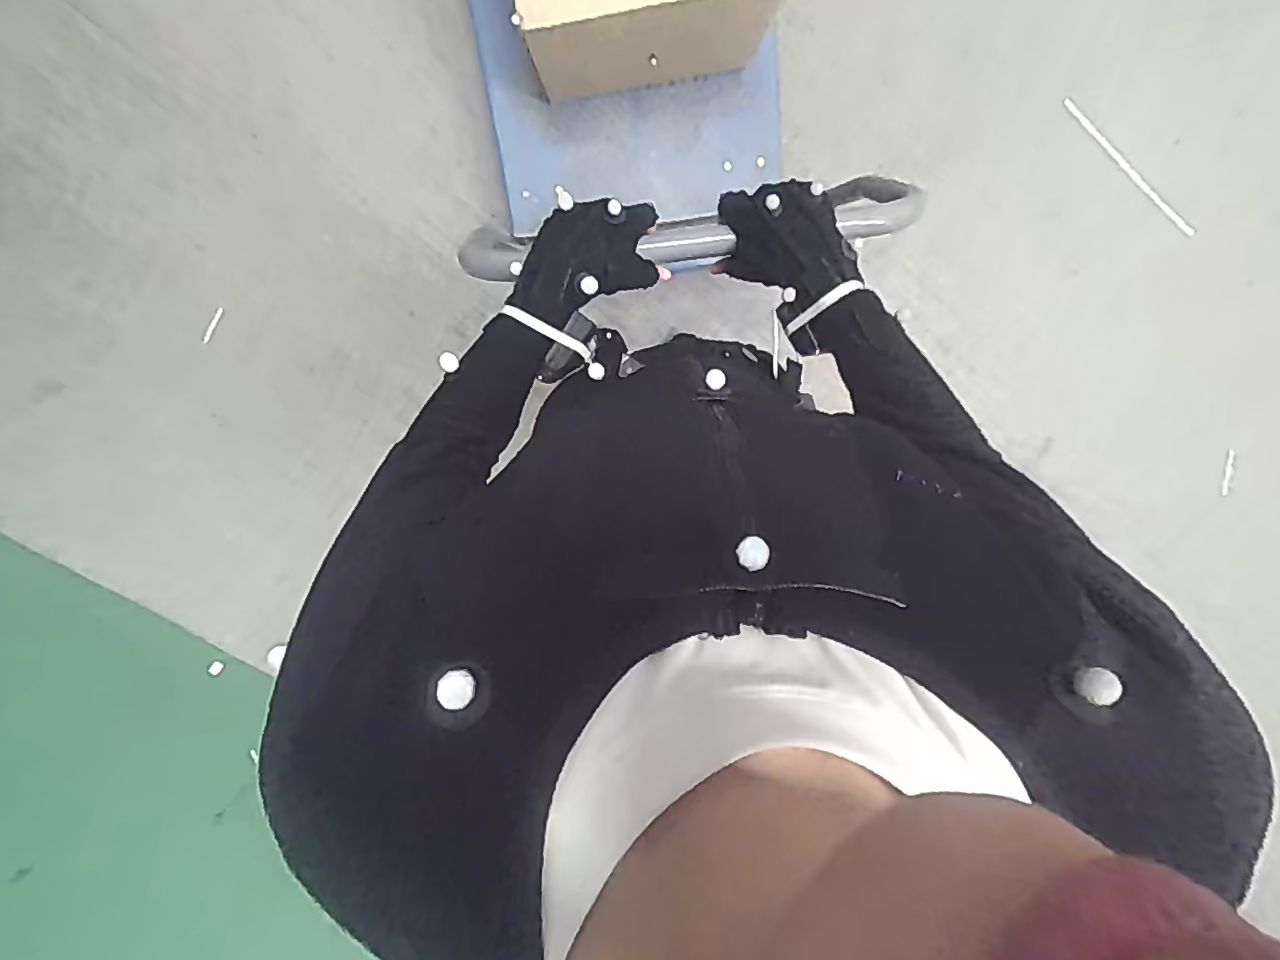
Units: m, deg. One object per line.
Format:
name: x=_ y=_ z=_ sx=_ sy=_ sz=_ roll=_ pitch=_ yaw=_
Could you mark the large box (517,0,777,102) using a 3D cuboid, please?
large box: x=-0.005 y=-0.880 z=0.882 sx=0.408 sy=0.320 sz=0.320 roll=-10 pitch=107 yaw=2
